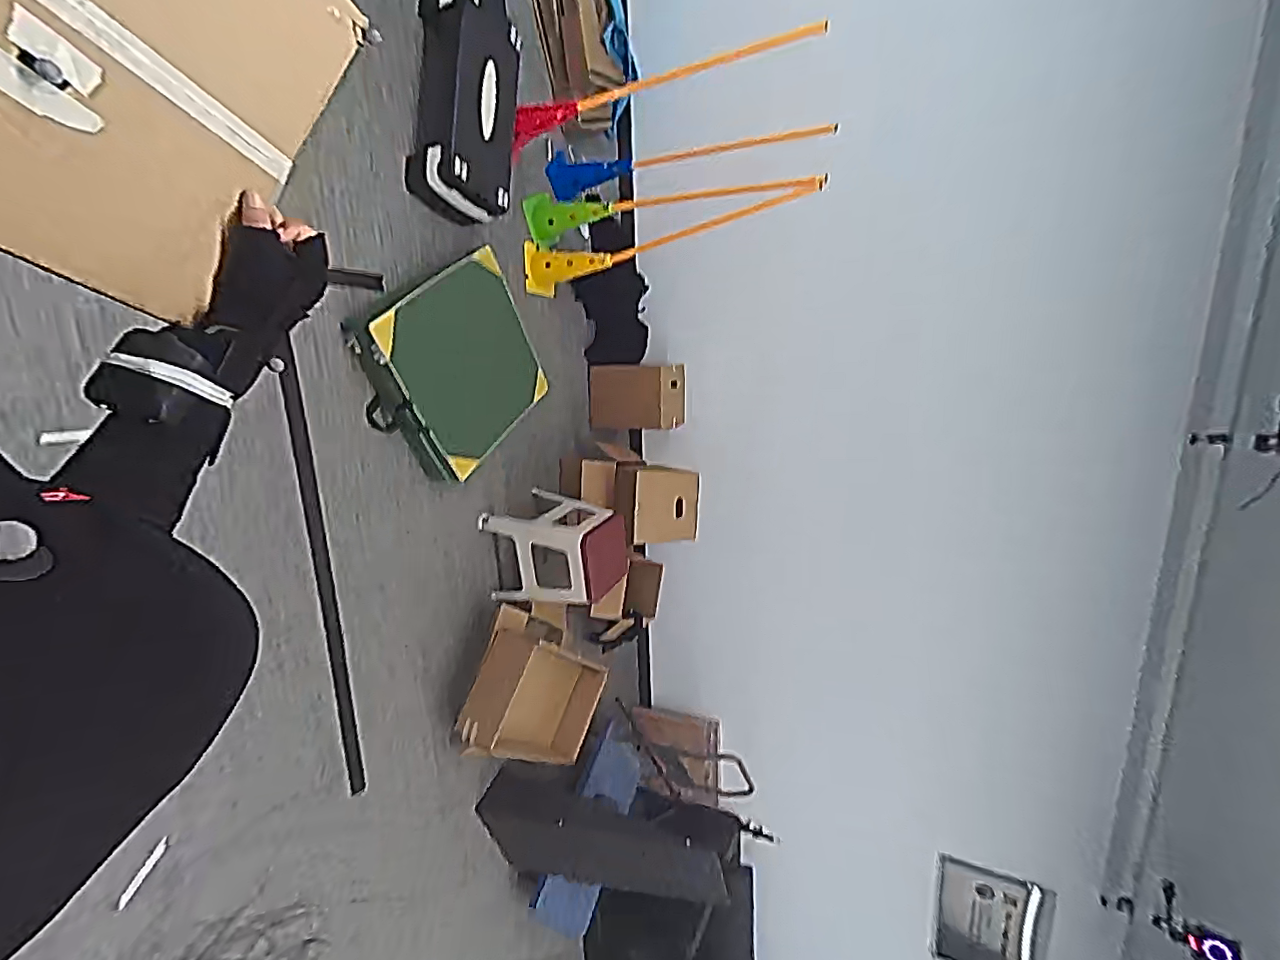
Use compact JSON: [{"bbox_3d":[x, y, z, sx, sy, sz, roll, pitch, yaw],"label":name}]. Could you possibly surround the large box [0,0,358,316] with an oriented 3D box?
[{"bbox_3d":[-0.512,-0.371,0.365,0.320,0.320,0.408,-65,153,-4],"label":"large box"}]
